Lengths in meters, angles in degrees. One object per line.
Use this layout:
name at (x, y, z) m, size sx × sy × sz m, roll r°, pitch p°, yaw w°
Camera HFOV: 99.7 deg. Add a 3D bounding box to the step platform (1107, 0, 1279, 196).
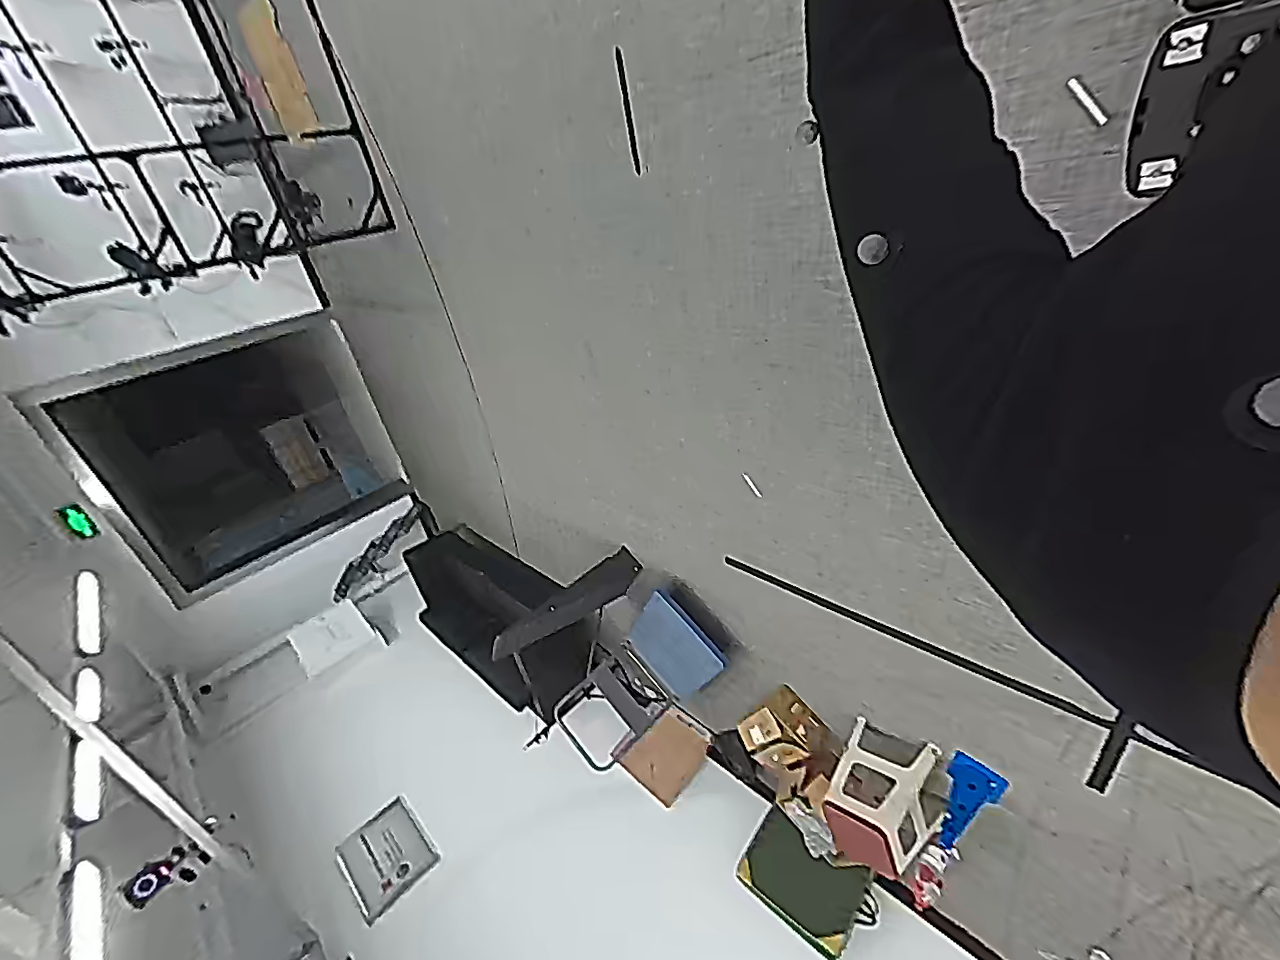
step platform at (1.183, -0.641, 0.841) m, size 0.684 × 0.204 × 0.286 m, roll 20°, pitch 132°, yaw 45°
